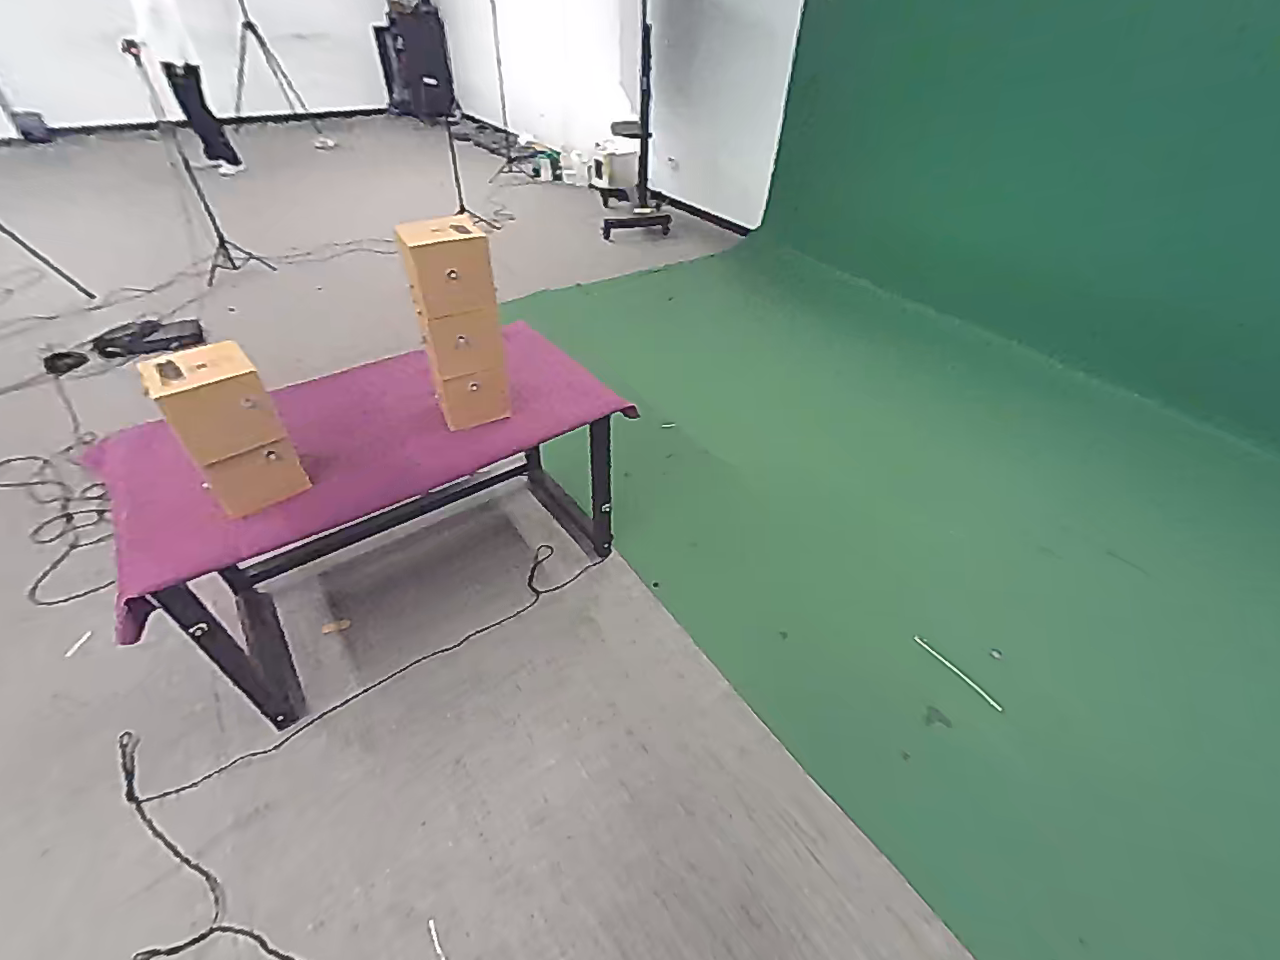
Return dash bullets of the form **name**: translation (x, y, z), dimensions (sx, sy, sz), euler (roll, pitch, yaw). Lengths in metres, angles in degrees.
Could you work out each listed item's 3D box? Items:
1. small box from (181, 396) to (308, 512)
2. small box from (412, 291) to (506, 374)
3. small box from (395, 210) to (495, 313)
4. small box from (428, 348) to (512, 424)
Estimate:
- **small box**: translation (-0.894, -0.059, 1.240), dimensions (0.179, 0.176, 0.168), euler (-30, 51, -30)
- **small box**: translation (-0.461, -0.395, 1.391), dimensions (0.179, 0.176, 0.168), euler (-20, 48, -22)
- **small box**: translation (-0.455, -0.518, 1.281), dimensions (0.179, 0.176, 0.168), euler (-21, 48, -23)
- **small box**: translation (-0.468, -0.275, 1.502), dimensions (0.179, 0.176, 0.168), euler (-17, 46, -20)
